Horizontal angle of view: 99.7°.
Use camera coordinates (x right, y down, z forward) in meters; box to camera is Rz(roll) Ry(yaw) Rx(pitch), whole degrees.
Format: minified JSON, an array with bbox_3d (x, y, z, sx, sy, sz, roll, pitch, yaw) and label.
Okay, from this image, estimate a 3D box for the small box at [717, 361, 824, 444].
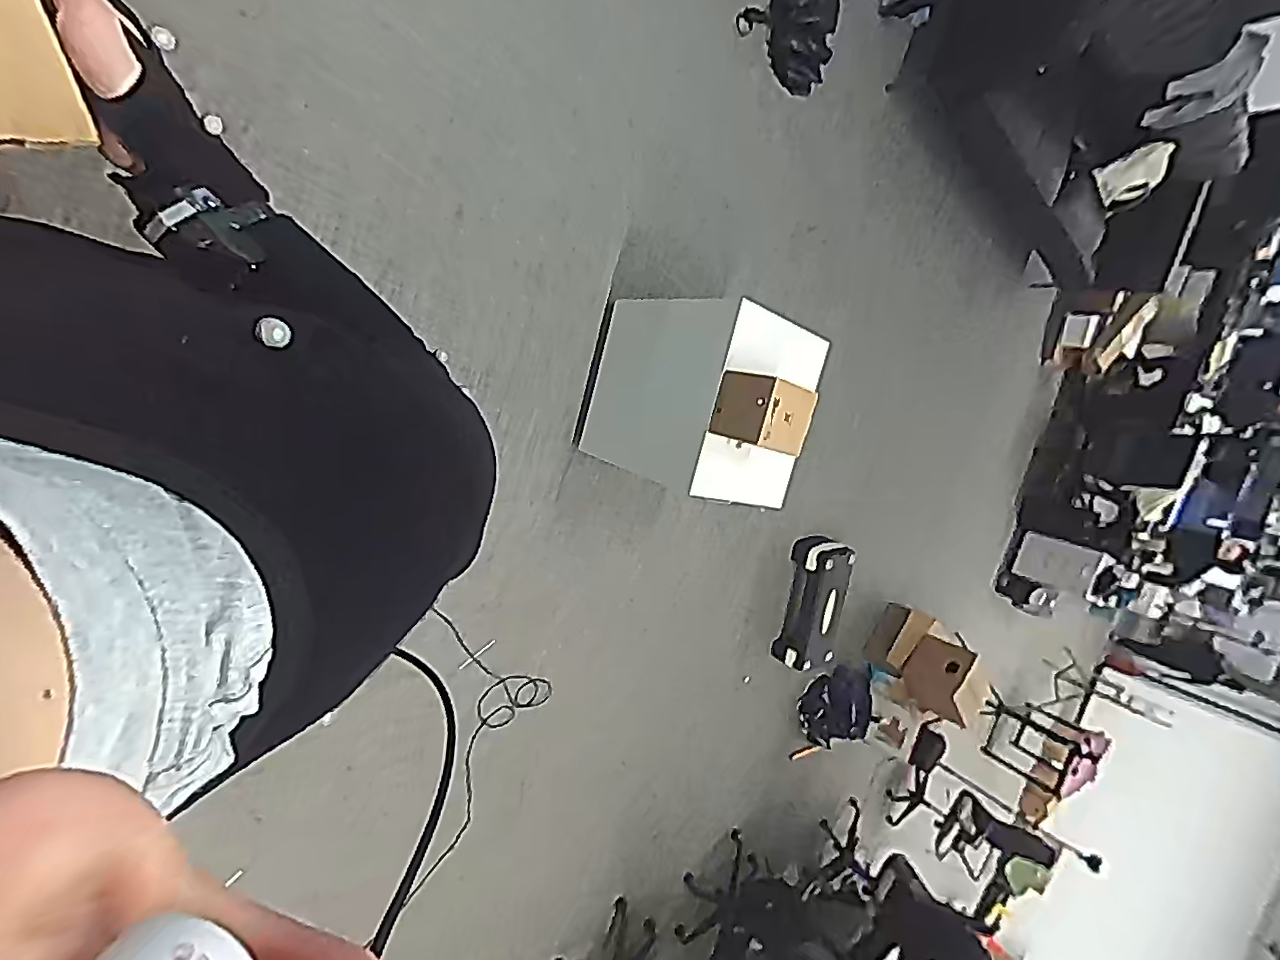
[{"bbox_3d":[0.322,-0.195,1.344,0.179,0.176,0.168,7,99,-41],"label":"small box"}]
